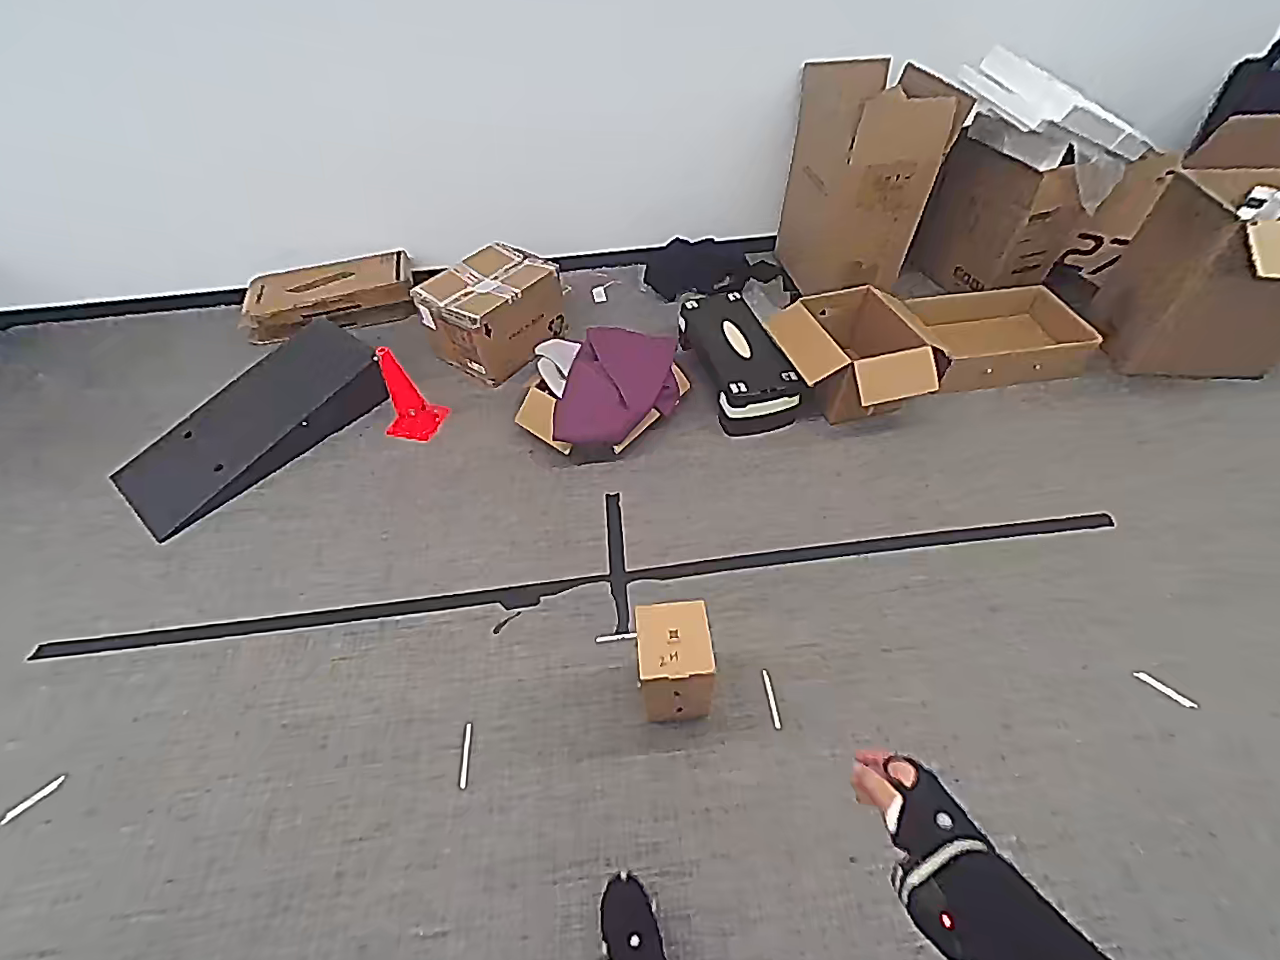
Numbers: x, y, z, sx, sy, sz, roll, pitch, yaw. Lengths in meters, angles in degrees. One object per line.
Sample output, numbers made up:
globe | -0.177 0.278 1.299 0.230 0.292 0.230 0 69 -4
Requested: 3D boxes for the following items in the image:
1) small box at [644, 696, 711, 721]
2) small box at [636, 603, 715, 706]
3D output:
small box | 0.089 0.512 1.402 0.168 0.176 0.179 -7 50 -2
small box | 0.078 0.411 1.271 0.168 0.176 0.179 -5 50 -1
